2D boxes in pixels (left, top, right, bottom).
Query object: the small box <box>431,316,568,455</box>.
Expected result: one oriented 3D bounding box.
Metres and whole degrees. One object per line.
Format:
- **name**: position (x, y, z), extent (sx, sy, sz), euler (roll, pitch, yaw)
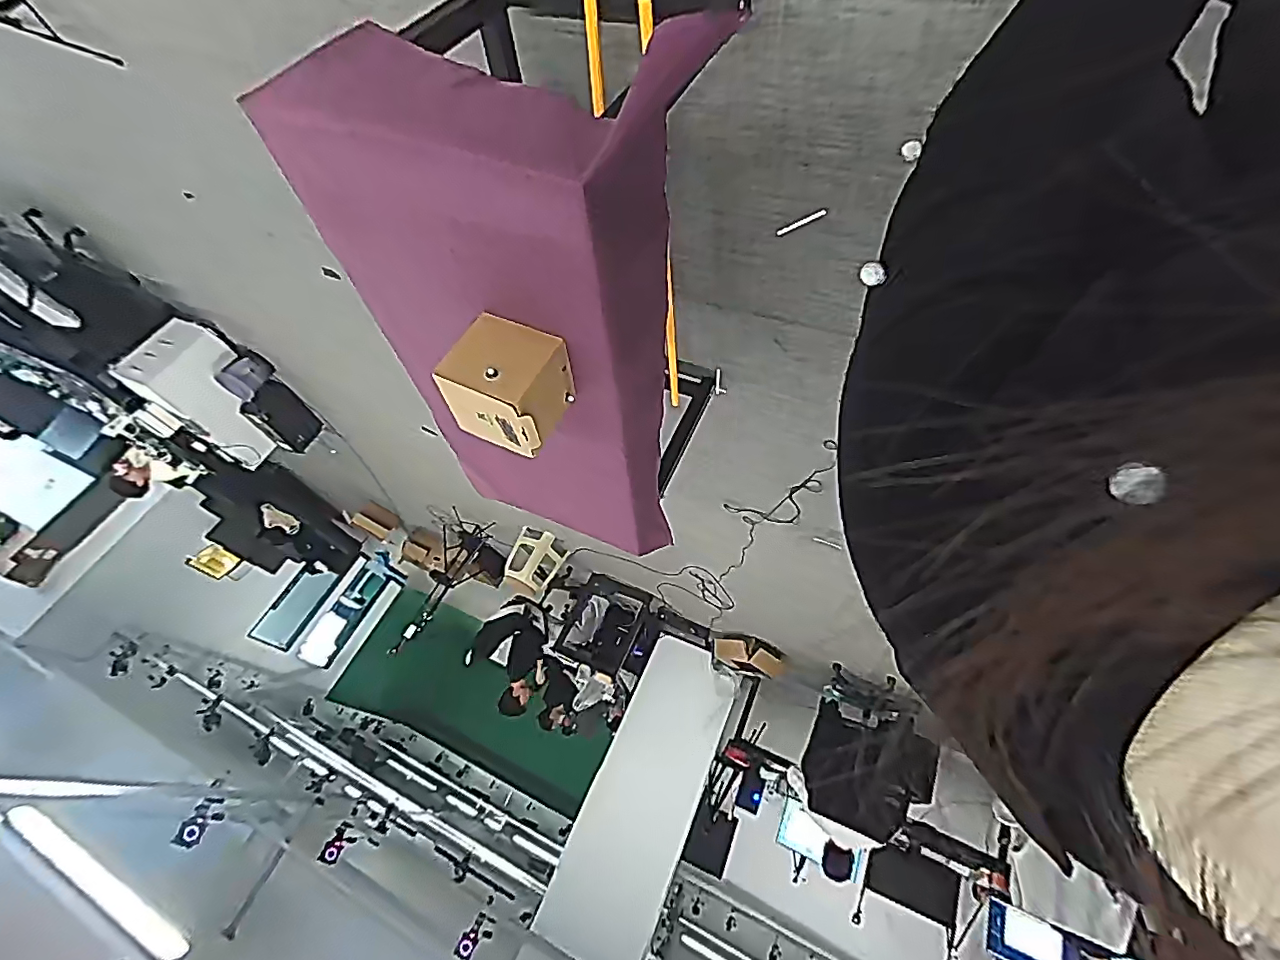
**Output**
- **small box**: position (-0.248, -0.180, 1.015), extent (0.179, 0.176, 0.168), euler (22, 153, 14)
